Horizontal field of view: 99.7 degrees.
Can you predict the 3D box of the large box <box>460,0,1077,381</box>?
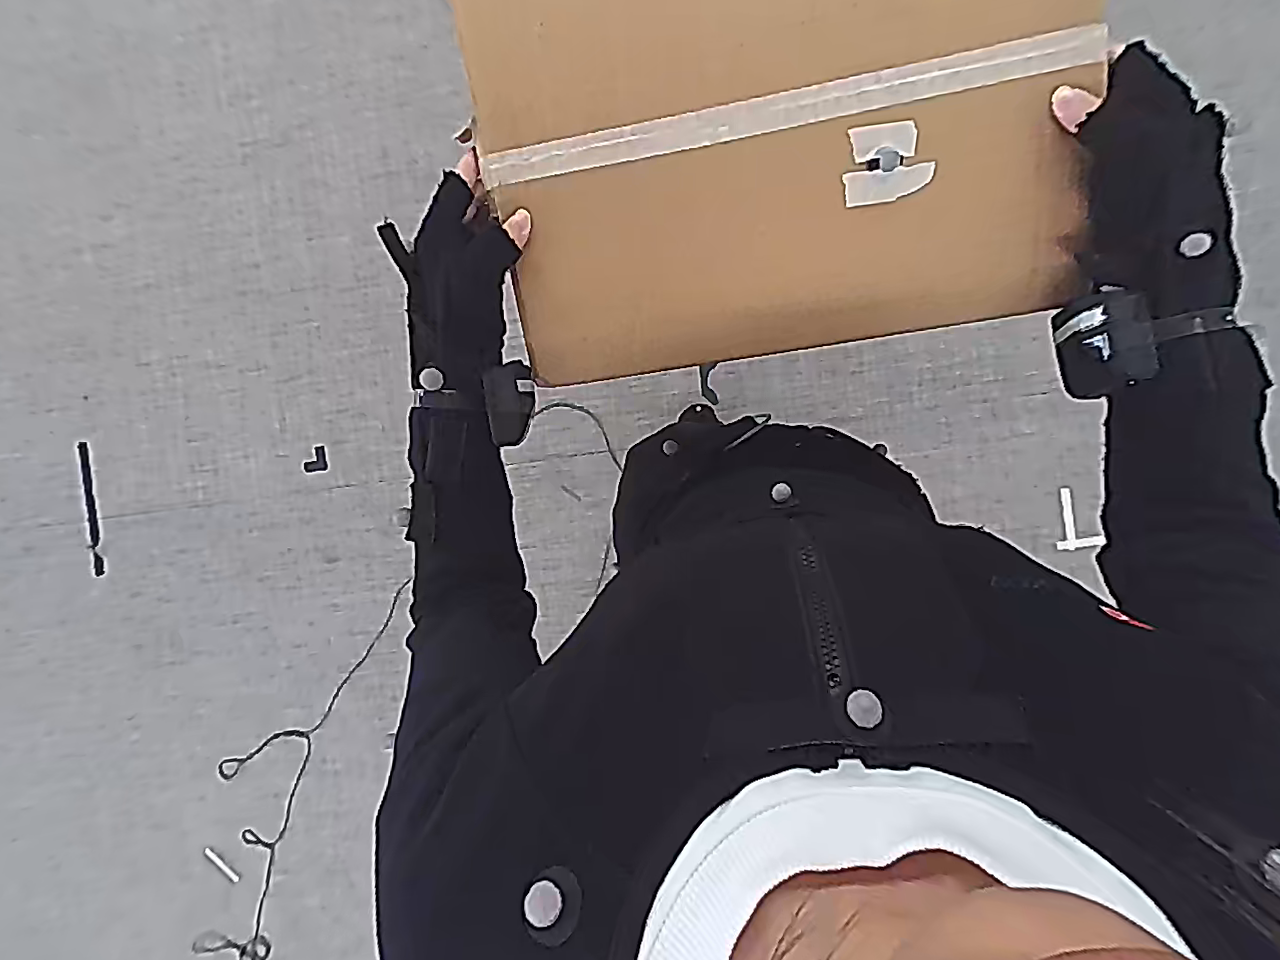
[{"bbox_3d":[0.098,-0.295,0.521,0.408,0.320,0.320,-8,106,6],"label":"large box"}]
